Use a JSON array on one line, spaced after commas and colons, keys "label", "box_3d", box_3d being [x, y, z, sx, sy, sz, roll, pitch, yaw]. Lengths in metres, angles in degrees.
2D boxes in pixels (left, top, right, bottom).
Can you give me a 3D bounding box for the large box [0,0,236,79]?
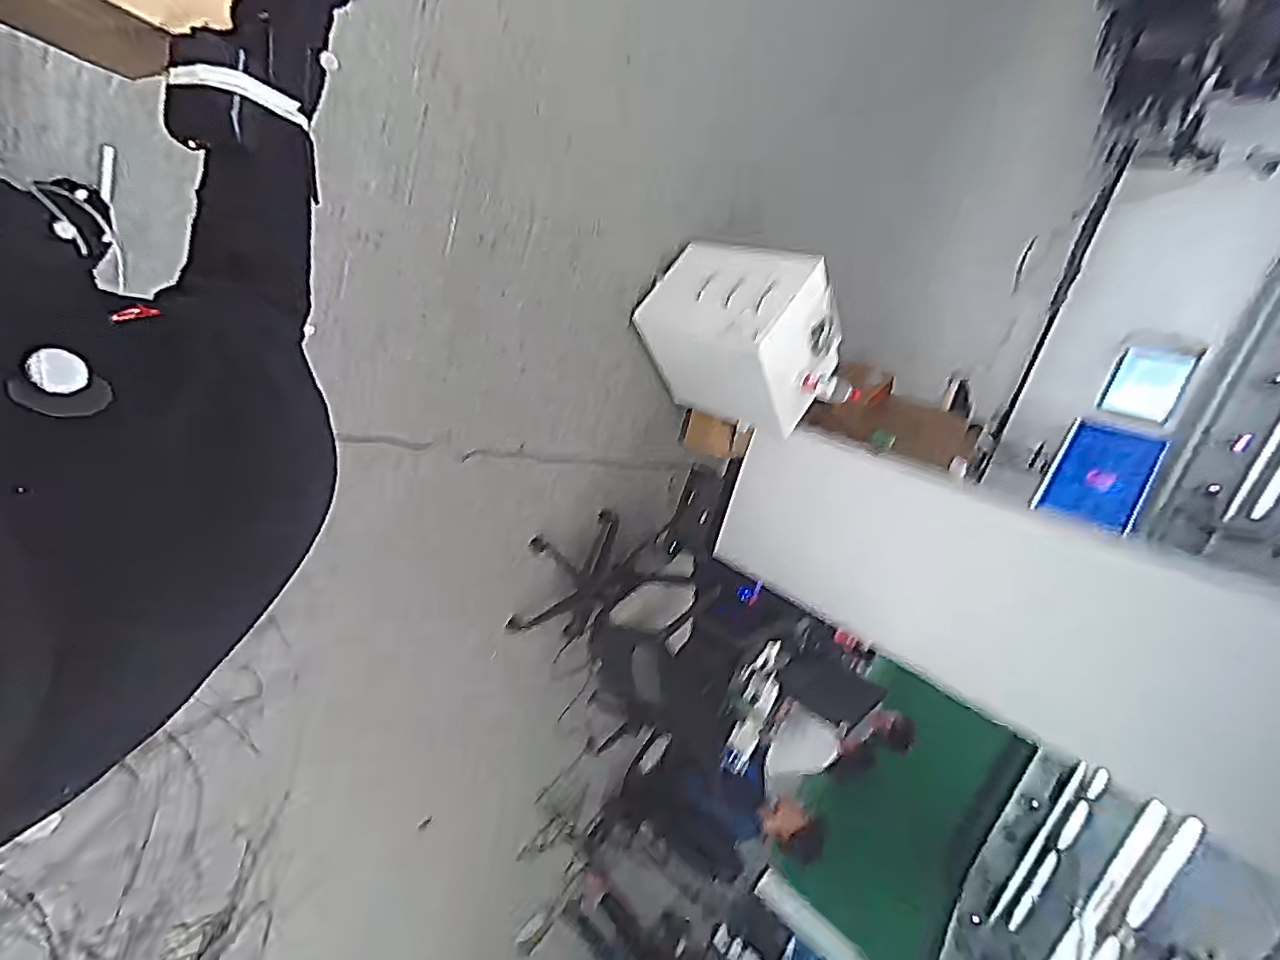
[{"label": "large box", "box_3d": [-0.494, -0.503, 0.293, 0.408, 0.320, 0.320, 1, 111, -55]}]
